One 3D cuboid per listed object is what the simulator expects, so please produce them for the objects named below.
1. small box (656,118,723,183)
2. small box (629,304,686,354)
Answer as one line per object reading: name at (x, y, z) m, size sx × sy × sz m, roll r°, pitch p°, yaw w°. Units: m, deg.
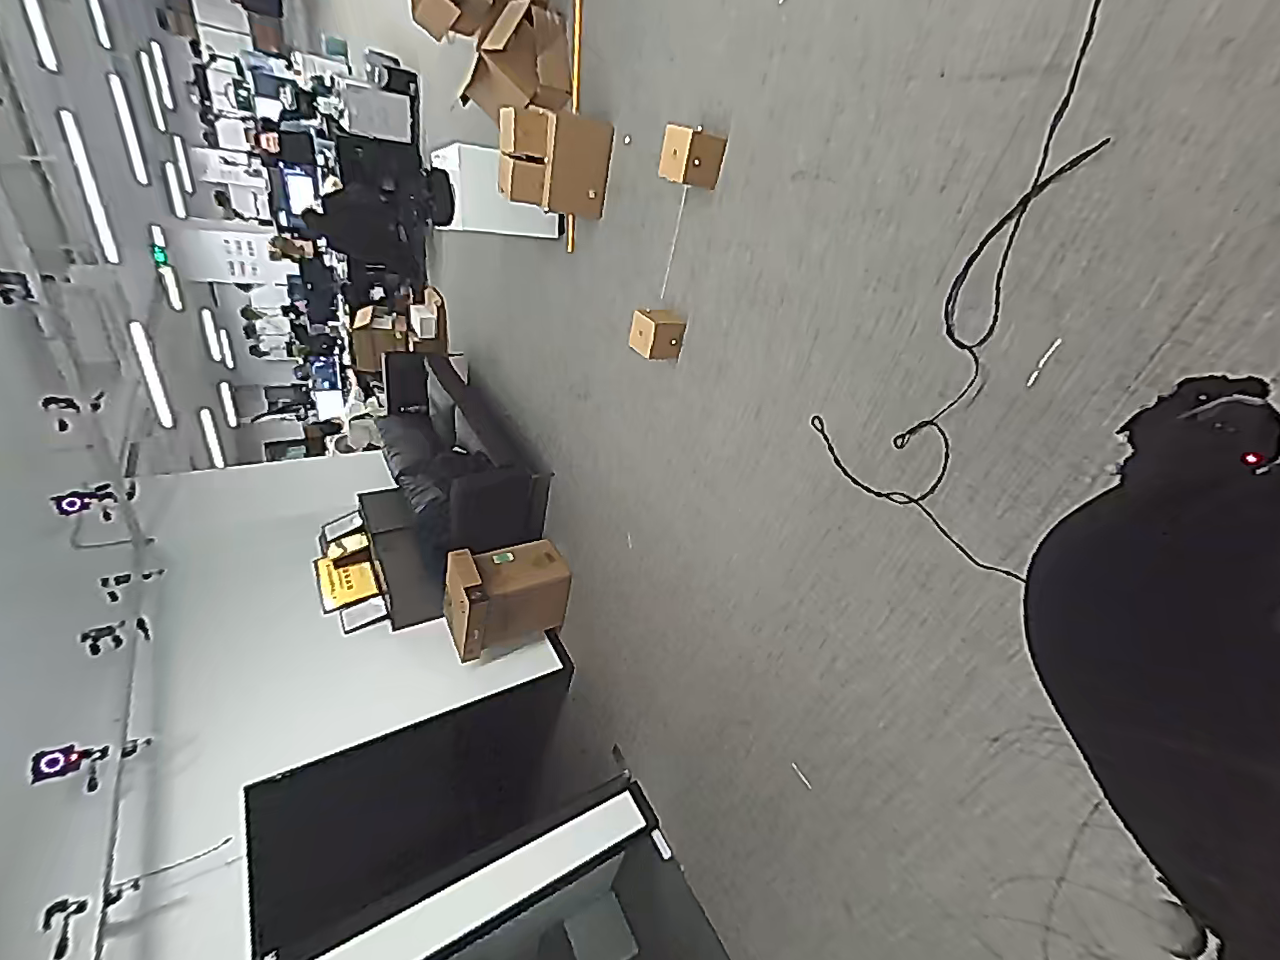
small box at (0.188, -1.236, 2.031) m, size 0.168 × 0.176 × 0.179 m, roll 46°, pitch 137°, yaw 40°
small box at (0.078, -0.670, 2.400) m, size 0.179 × 0.176 × 0.168 m, roll 46°, pitch 137°, yaw 40°
